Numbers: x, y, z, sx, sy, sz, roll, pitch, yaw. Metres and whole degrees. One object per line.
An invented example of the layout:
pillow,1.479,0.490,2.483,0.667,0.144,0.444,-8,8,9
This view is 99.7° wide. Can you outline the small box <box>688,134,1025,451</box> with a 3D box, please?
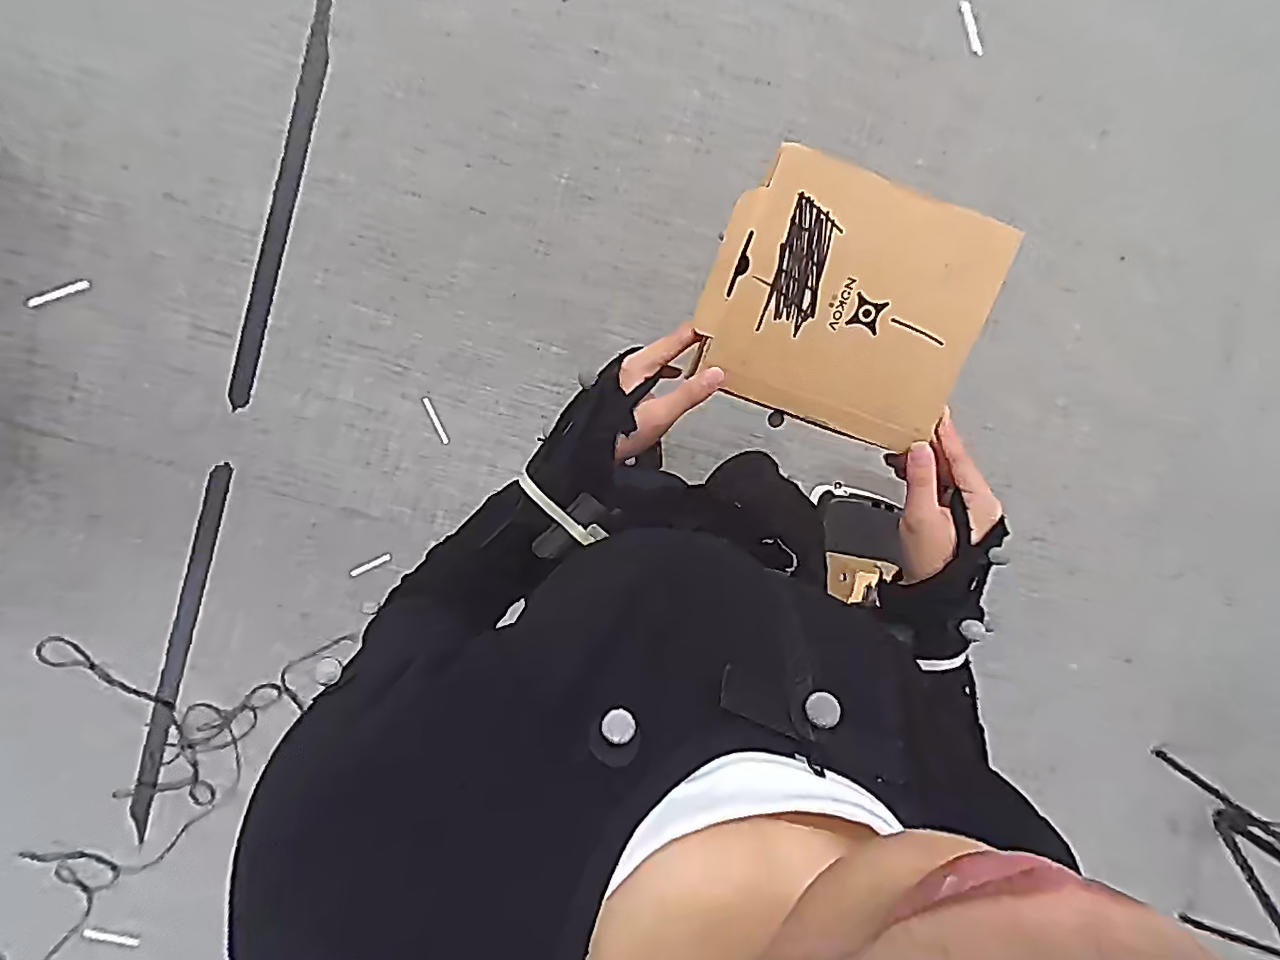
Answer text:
small box,0.147,-0.136,0.444,0.179,0.176,0.168,19,101,-3
